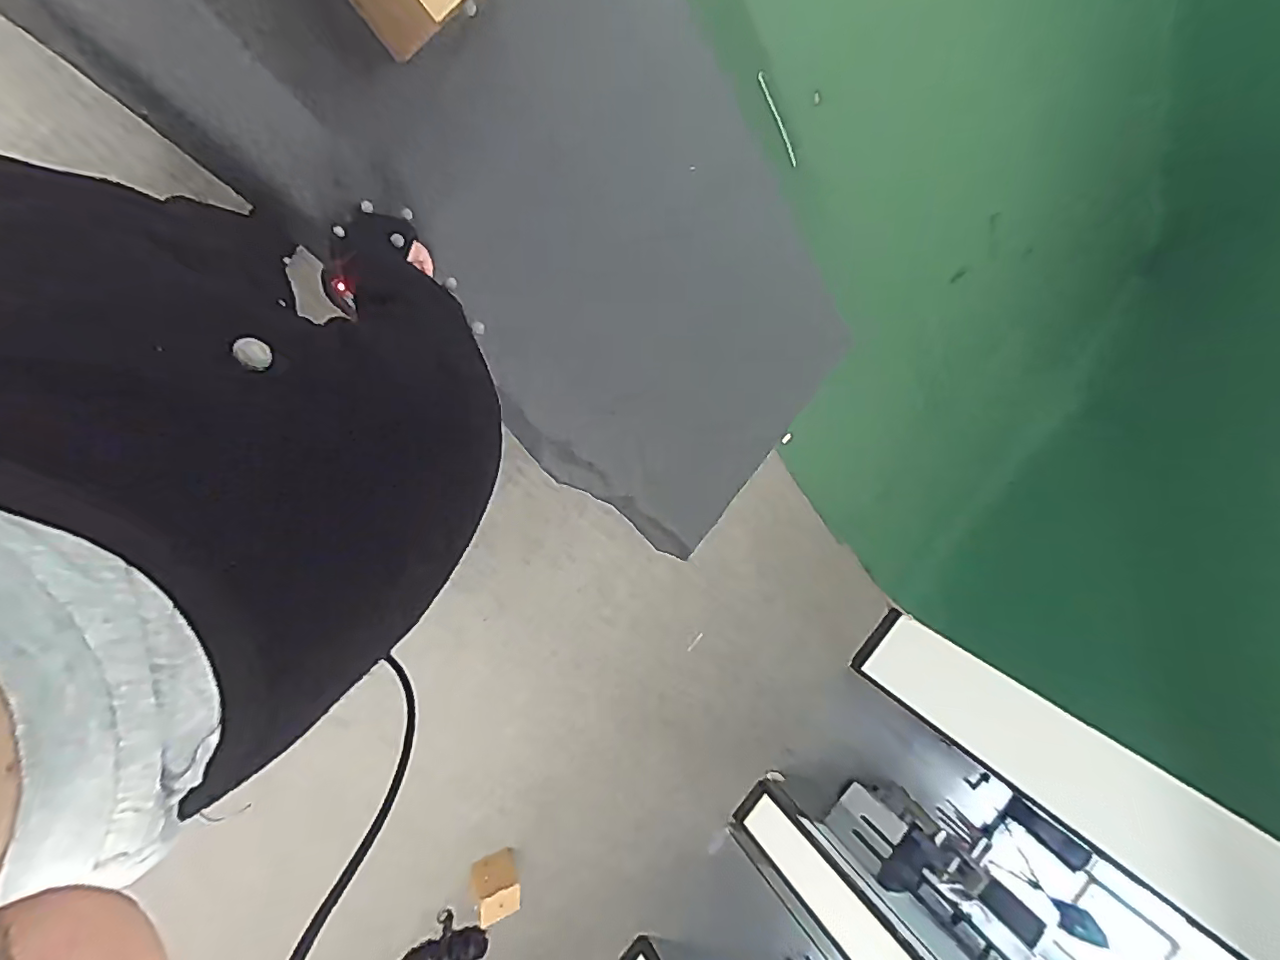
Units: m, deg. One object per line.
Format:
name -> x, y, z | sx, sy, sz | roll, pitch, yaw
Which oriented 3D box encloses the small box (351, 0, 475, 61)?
small box -> -0.234, -0.572, 0.545 | 0.179, 0.176, 0.168 | -49, 130, -5
